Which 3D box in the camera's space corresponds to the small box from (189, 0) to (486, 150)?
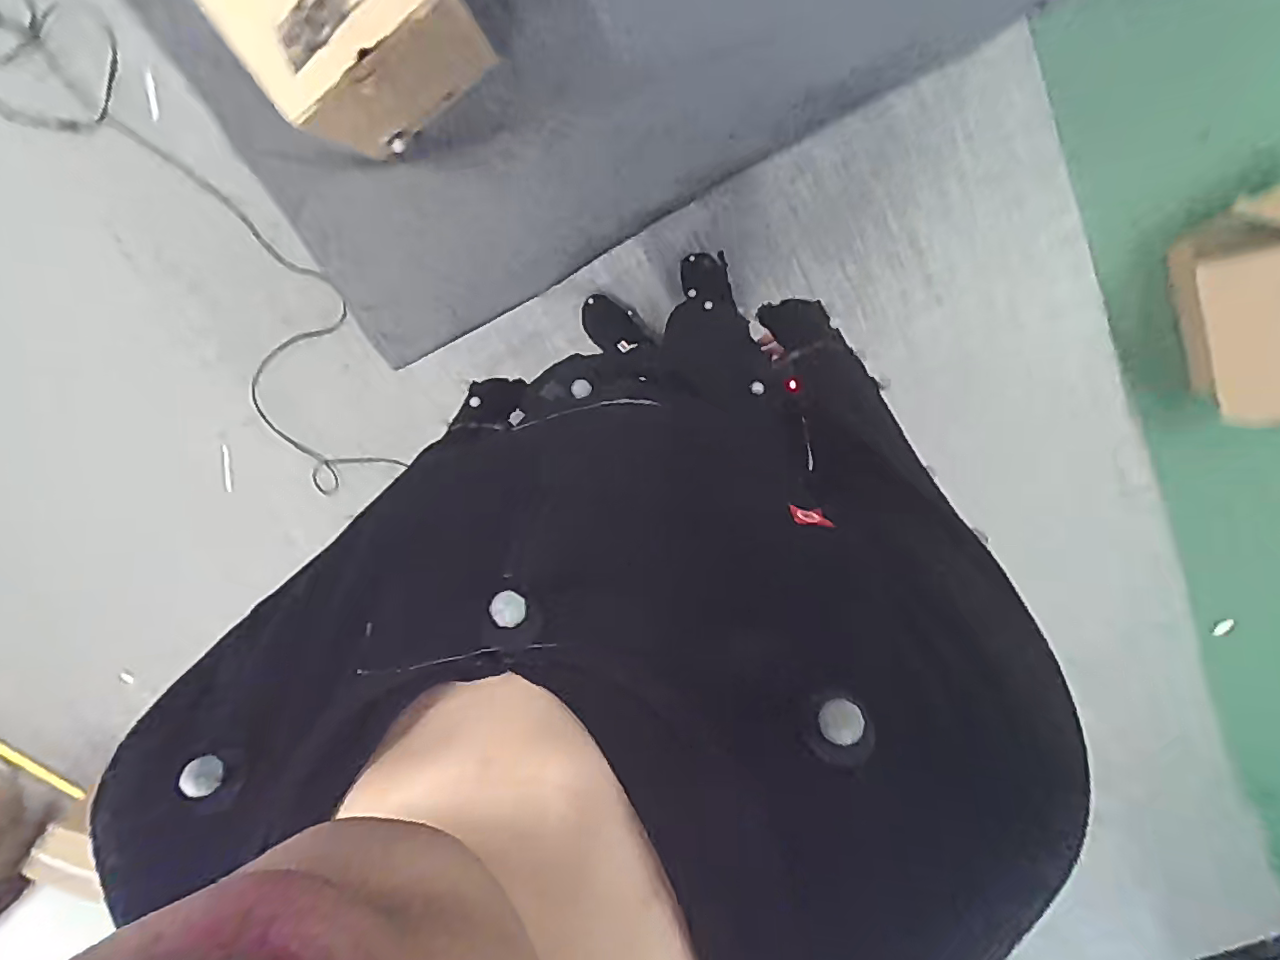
[{"bbox_3d":[-0.265,-0.423,0.473,0.168,0.176,0.179,-32,108,12],"label":"small box"}]
